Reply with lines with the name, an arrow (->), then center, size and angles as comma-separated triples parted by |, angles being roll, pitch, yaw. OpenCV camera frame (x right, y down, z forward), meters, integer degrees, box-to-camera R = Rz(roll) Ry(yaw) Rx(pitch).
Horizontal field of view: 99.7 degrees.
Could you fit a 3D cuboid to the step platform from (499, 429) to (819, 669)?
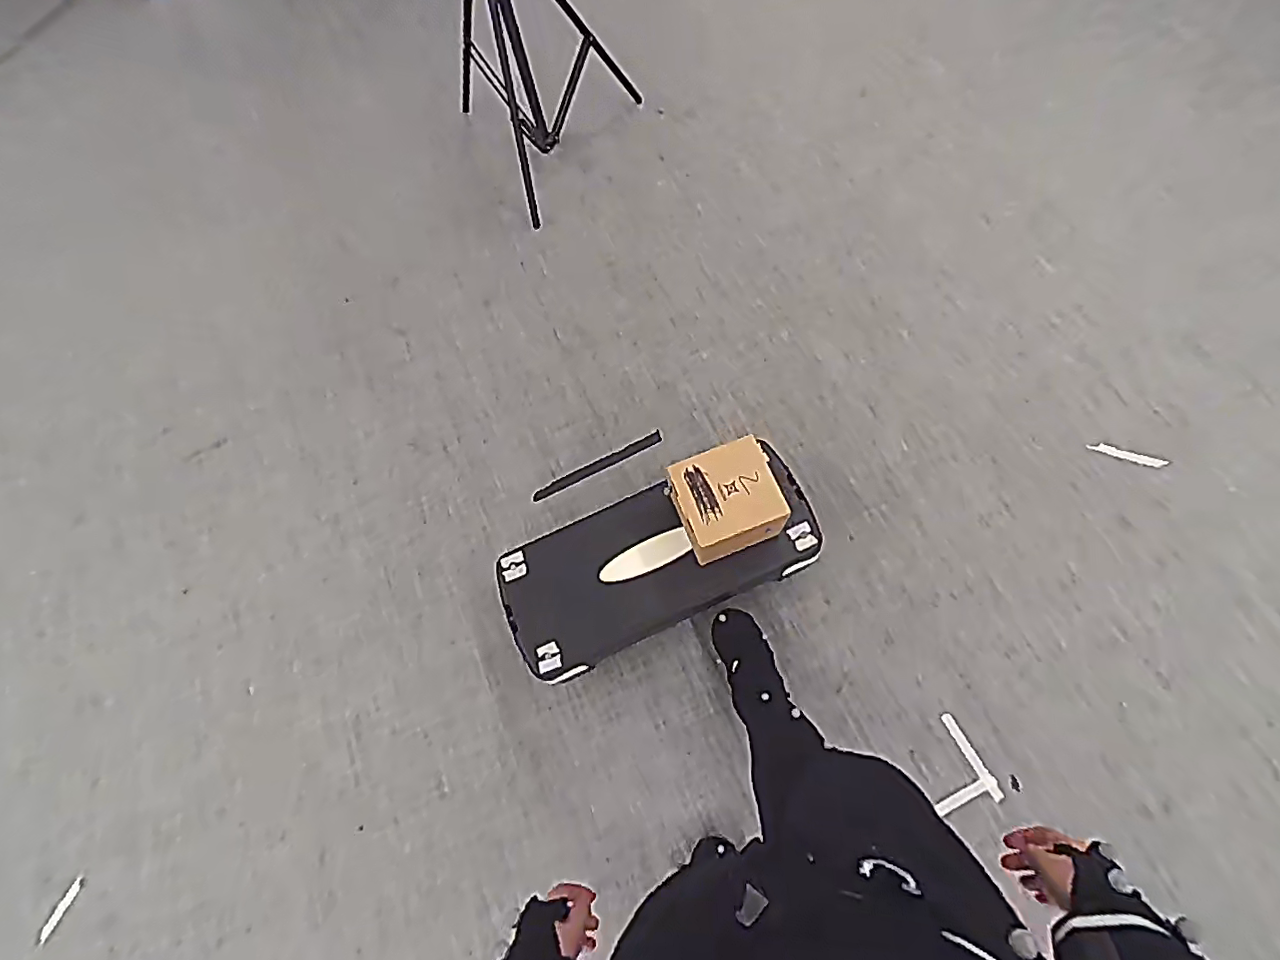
step platform -> 0.042, 0.152, 1.204 | 0.684, 0.204, 0.286 | -25, 70, -2
